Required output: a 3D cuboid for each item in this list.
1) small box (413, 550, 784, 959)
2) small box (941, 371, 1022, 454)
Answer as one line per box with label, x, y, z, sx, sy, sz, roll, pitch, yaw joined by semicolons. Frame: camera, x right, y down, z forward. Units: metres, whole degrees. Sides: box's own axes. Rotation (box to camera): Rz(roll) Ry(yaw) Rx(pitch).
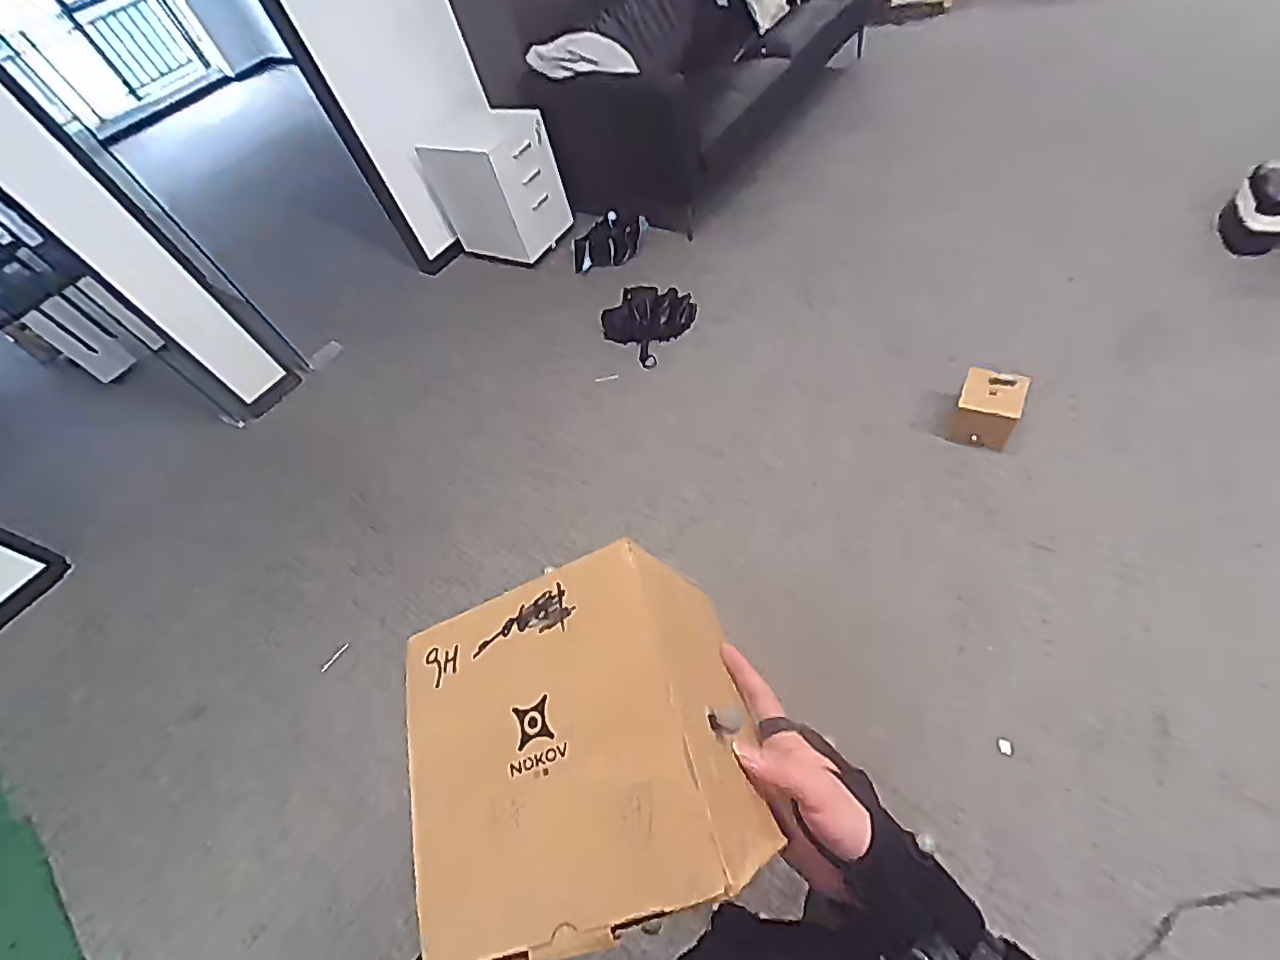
small box;-0.021;0.174;0.360;0.168;0.176;0.179;-27;59;12
small box;1.075;-0.214;1.712;0.168;0.176;0.179;19;62;26
